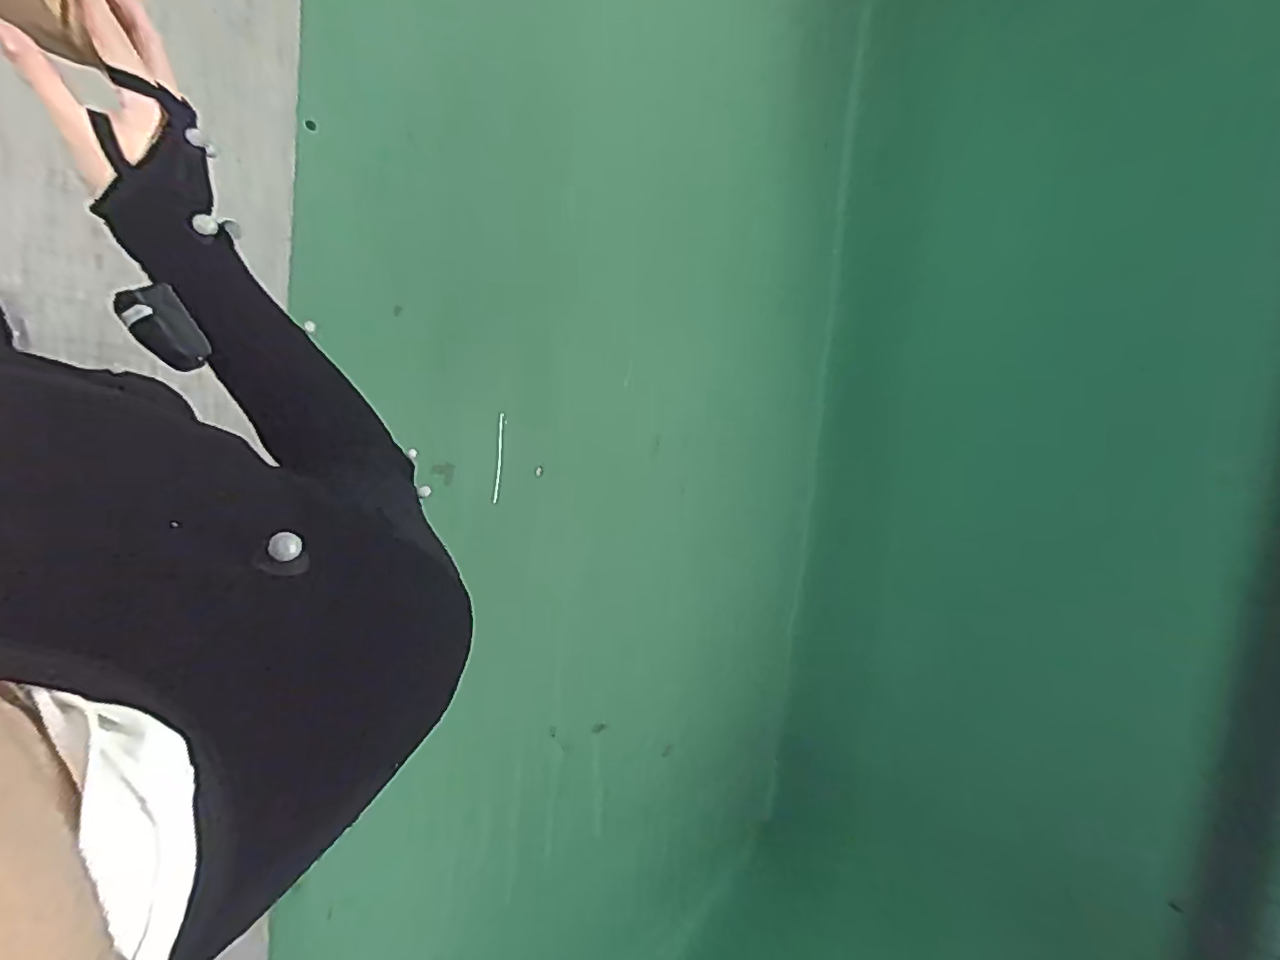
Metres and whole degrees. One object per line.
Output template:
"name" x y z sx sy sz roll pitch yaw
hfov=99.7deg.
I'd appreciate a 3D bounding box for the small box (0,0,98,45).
"small box" -0.422 -0.382 0.282 0.179 0.176 0.168 7 101 -36
